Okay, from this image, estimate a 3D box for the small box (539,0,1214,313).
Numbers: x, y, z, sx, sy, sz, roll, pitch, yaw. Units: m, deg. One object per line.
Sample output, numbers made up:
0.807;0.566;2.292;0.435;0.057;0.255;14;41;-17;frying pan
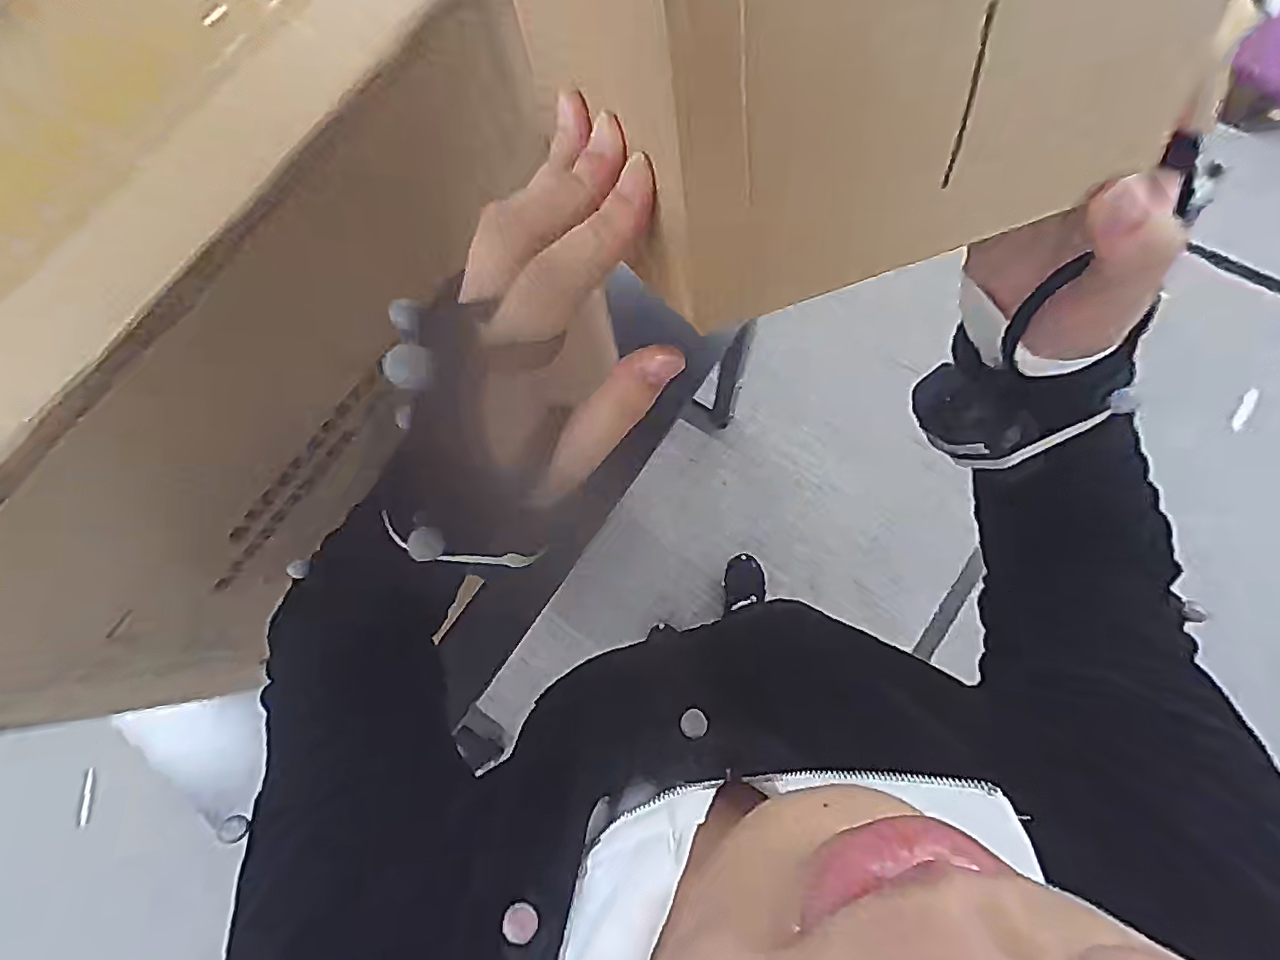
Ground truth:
0.056;-0.187;0.181;0.168;0.179;0.176;-19;42;-8;small box
